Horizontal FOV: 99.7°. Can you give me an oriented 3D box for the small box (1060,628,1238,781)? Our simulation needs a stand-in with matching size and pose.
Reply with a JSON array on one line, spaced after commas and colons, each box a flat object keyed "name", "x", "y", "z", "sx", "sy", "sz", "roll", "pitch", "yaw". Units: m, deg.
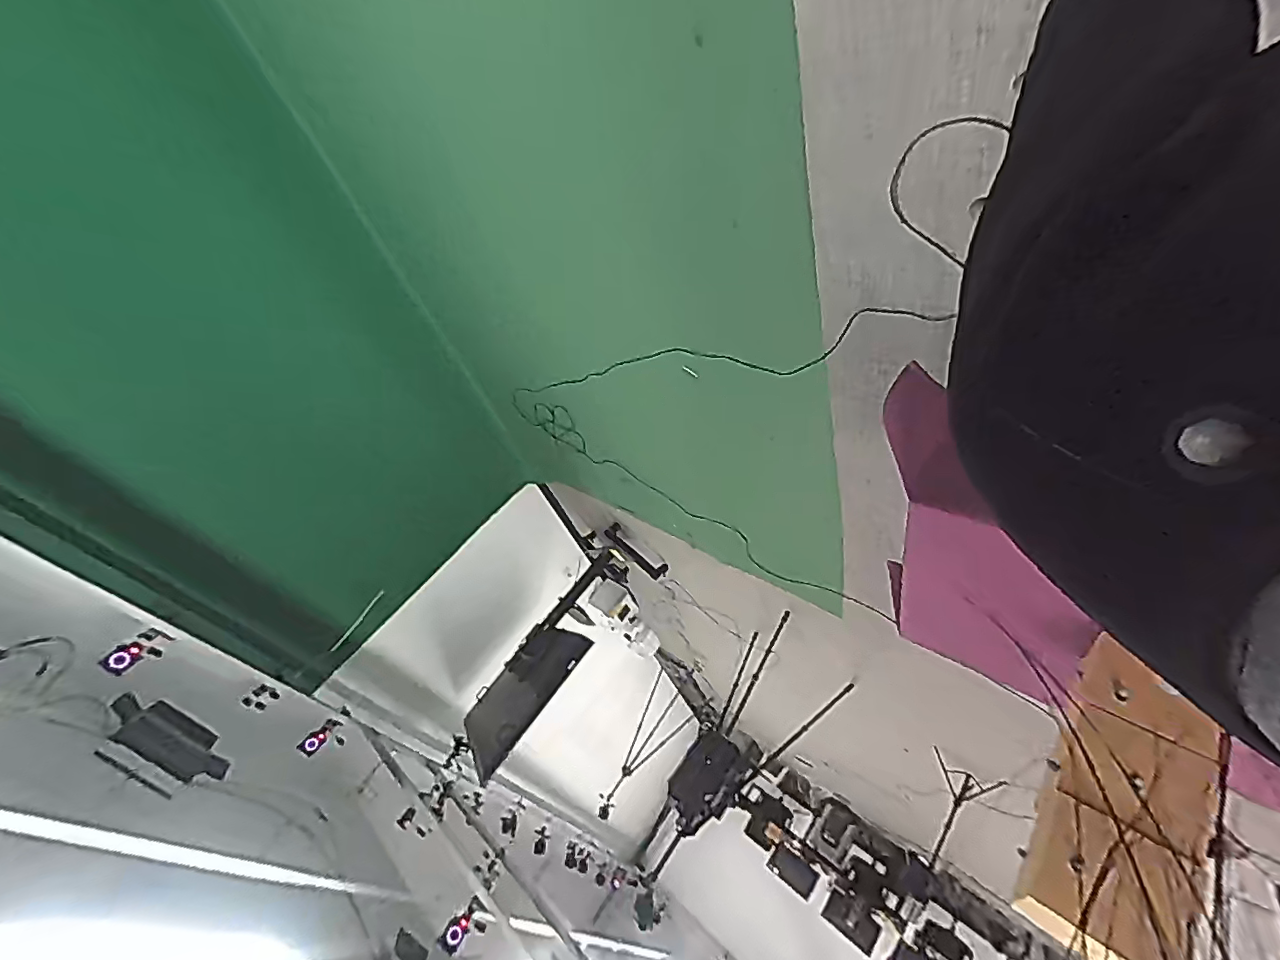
[{"name": "small box", "x": 0.904, "y": 0.392, "z": 0.970, "sx": 0.179, "sy": 0.176, "sz": 0.168, "roll": 24, "pitch": 153, "yaw": 36}]

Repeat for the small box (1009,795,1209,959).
[{"name": "small box", "x": 0.709, "y": 0.616, "z": 0.830, "sx": 0.179, "sy": 0.176, "sz": 0.168, "roll": 23, "pitch": 152, "yaw": 36}]
